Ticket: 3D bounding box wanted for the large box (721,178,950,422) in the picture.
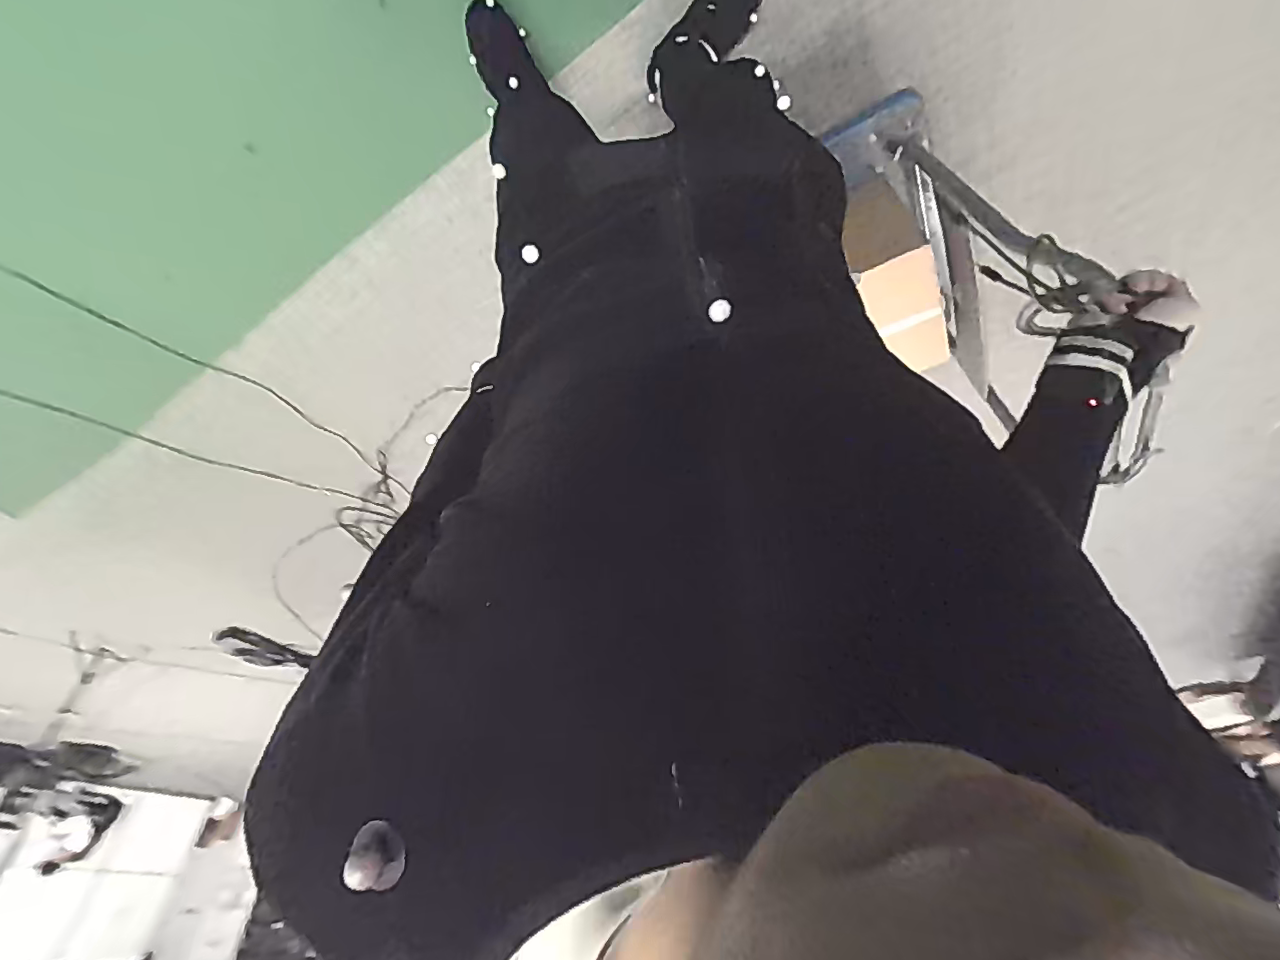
[{"bbox_3d":[0.440,-0.403,1.257,0.408,0.320,0.320,-19,137,23],"label":"large box"}]
